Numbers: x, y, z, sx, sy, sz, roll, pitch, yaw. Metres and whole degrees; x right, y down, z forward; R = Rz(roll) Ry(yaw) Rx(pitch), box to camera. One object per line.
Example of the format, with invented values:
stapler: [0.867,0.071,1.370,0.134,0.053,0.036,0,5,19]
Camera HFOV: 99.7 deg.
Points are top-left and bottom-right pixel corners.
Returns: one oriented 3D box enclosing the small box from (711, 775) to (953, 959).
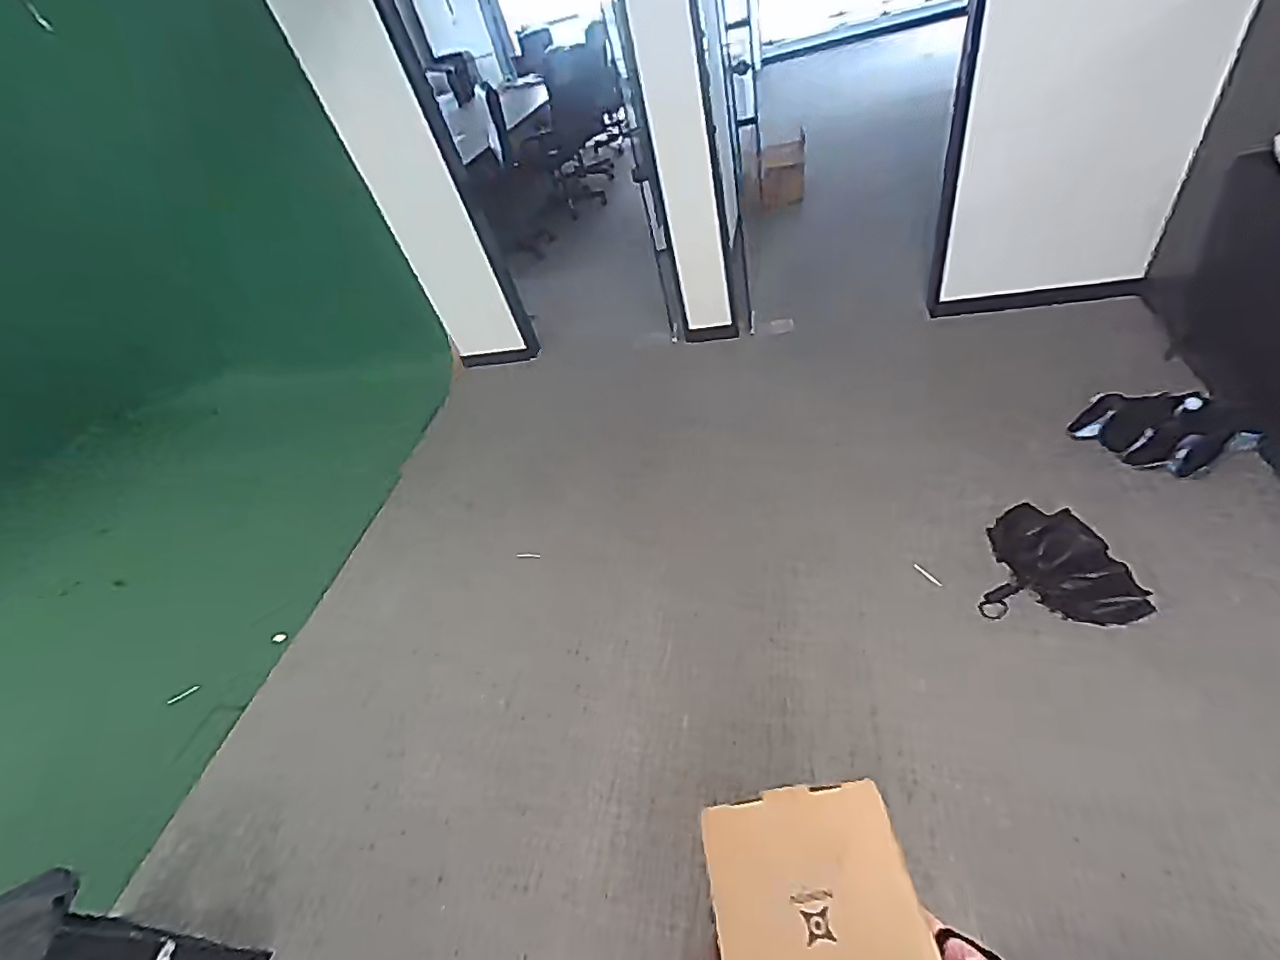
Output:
small box: [0.167,0.401,0.494,0.168,0.176,0.179,-13,45,5]
